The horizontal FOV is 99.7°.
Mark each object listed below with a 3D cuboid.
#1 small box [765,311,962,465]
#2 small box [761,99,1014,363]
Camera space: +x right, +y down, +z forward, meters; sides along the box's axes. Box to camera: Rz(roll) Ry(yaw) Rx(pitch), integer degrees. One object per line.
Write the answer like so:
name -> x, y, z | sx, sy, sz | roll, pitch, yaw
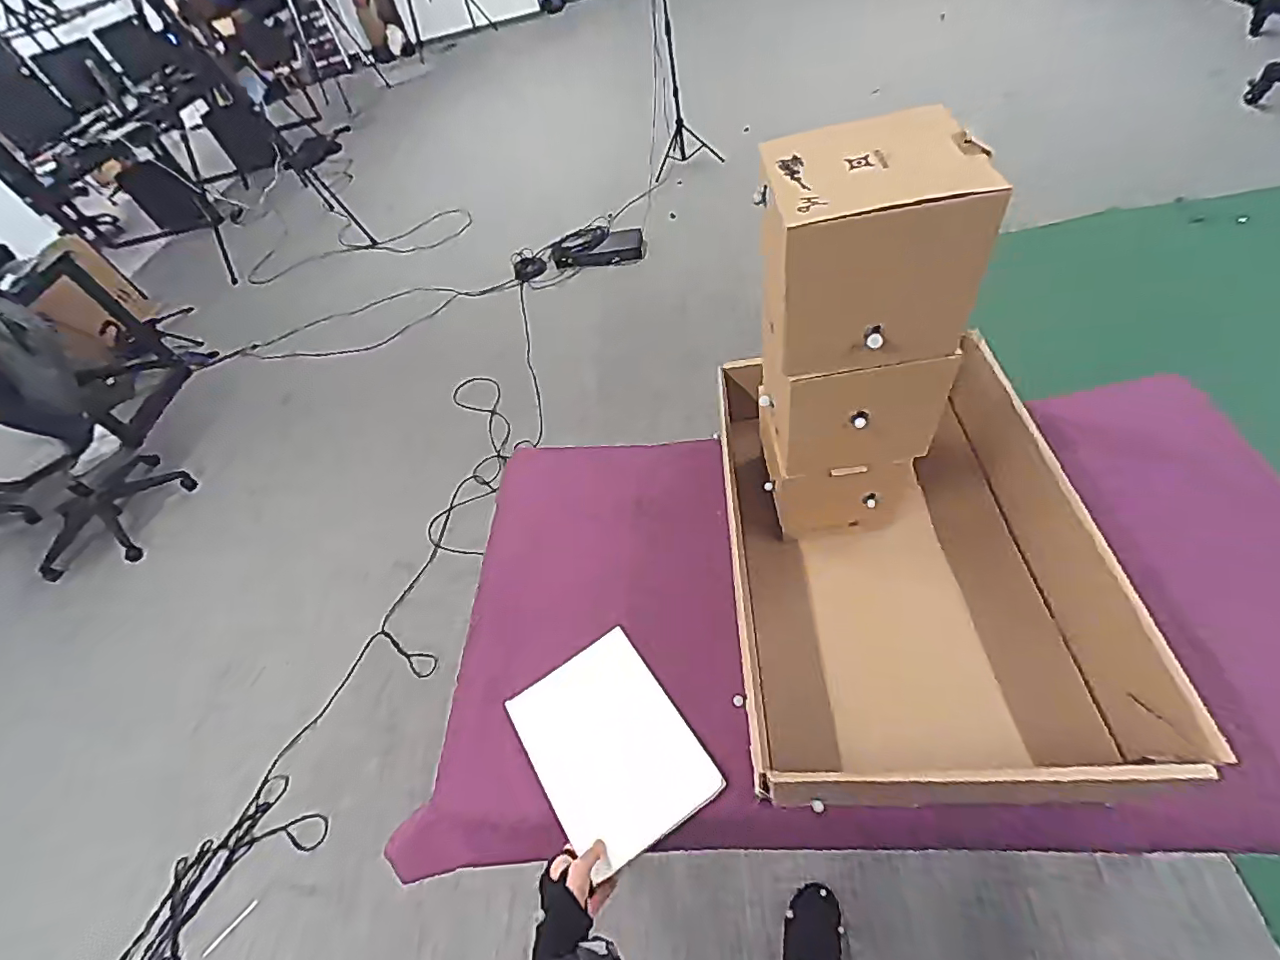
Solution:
small box -> 0.253, -0.139, 0.664 | 0.179, 0.176, 0.168 | -9, 52, 8
small box -> 0.219, -0.239, 0.538 | 0.179, 0.176, 0.168 | -6, 52, 8
